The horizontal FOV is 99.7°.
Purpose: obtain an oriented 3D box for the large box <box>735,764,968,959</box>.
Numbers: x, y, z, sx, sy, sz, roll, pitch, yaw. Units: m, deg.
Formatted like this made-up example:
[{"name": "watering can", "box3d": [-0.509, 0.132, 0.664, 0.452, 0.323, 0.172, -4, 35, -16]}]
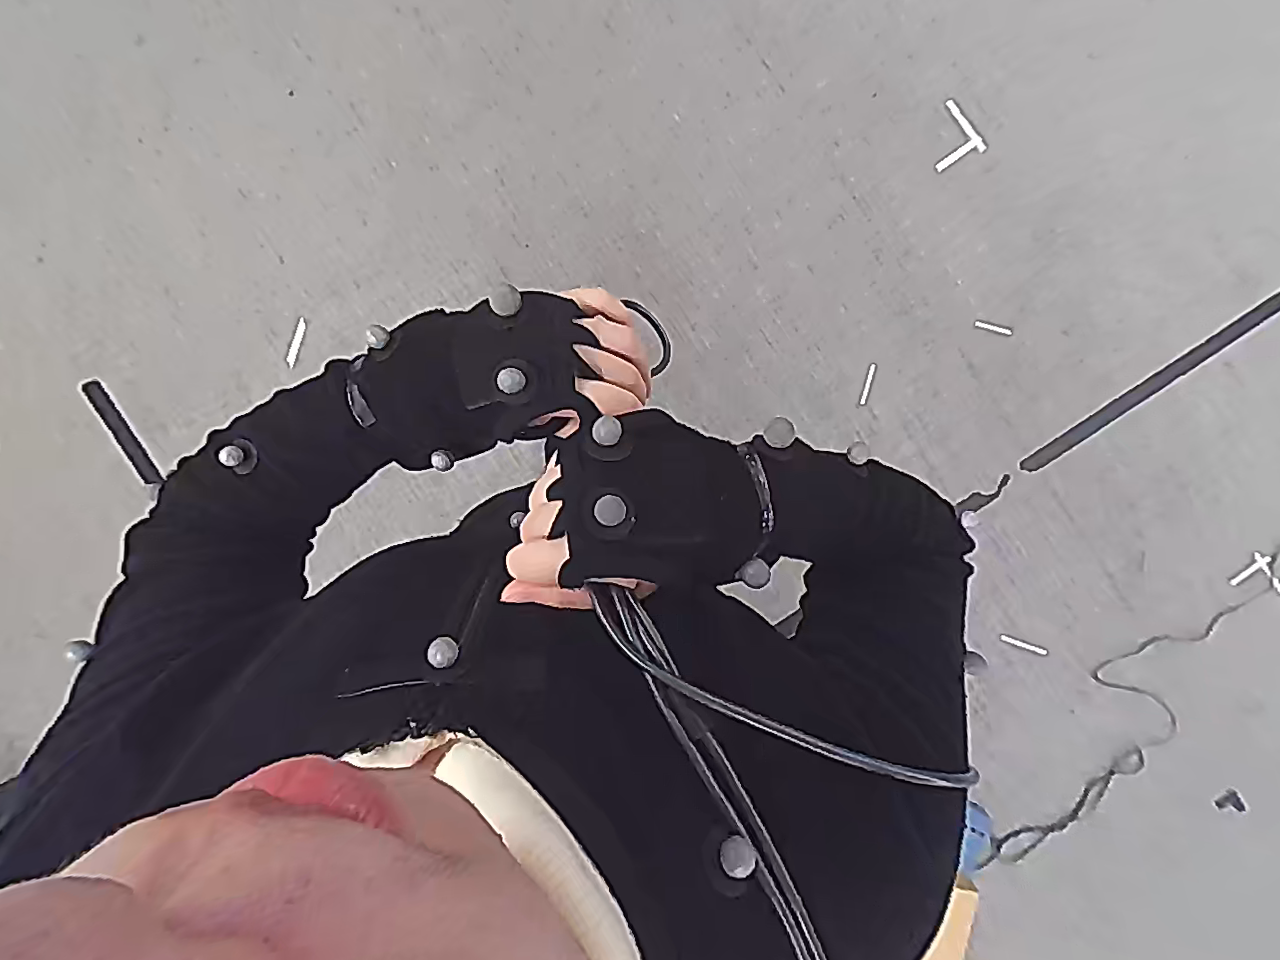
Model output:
[{"name": "large box", "box3d": [0.429, 0.916, 1.178, 0.320, 0.320, 0.408, 15, 90, -1]}]
